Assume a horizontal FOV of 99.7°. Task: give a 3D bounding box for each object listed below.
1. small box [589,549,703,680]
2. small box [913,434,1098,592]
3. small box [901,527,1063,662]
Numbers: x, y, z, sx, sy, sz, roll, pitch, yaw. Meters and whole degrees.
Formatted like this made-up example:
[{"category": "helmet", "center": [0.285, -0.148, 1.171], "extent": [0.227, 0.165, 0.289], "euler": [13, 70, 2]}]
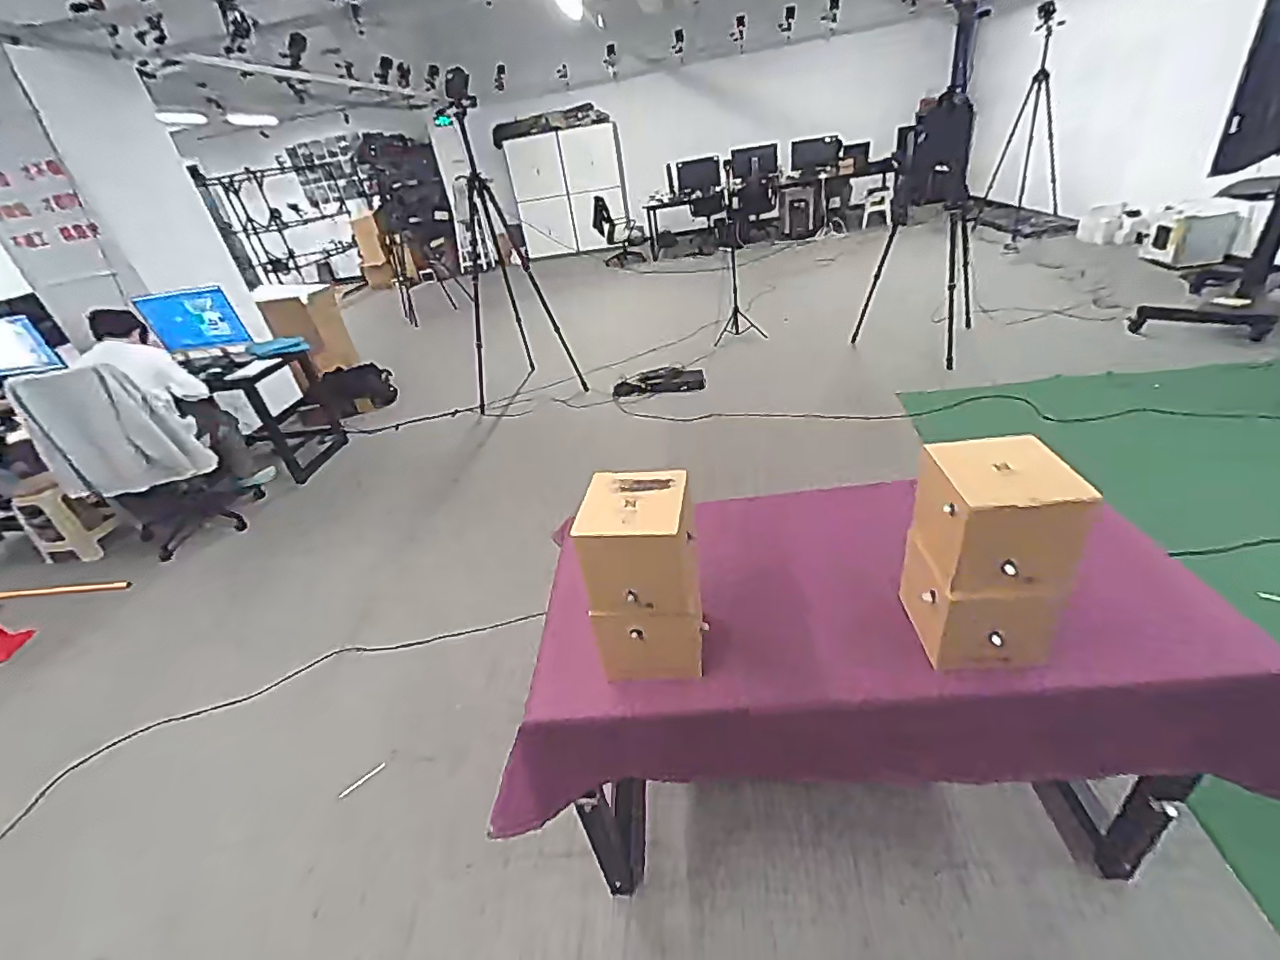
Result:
[{"category": "small box", "center": [0.020, 0.246, 0.984], "extent": [0.179, 0.176, 0.168], "euler": [-4, 32, 9]}, {"category": "small box", "center": [0.540, 0.049, 0.832], "extent": [0.168, 0.176, 0.179], "euler": [-6, 33, 8]}, {"category": "small box", "center": [0.559, 0.190, 0.912], "extent": [0.168, 0.176, 0.179], "euler": [-6, 32, 7]}]
